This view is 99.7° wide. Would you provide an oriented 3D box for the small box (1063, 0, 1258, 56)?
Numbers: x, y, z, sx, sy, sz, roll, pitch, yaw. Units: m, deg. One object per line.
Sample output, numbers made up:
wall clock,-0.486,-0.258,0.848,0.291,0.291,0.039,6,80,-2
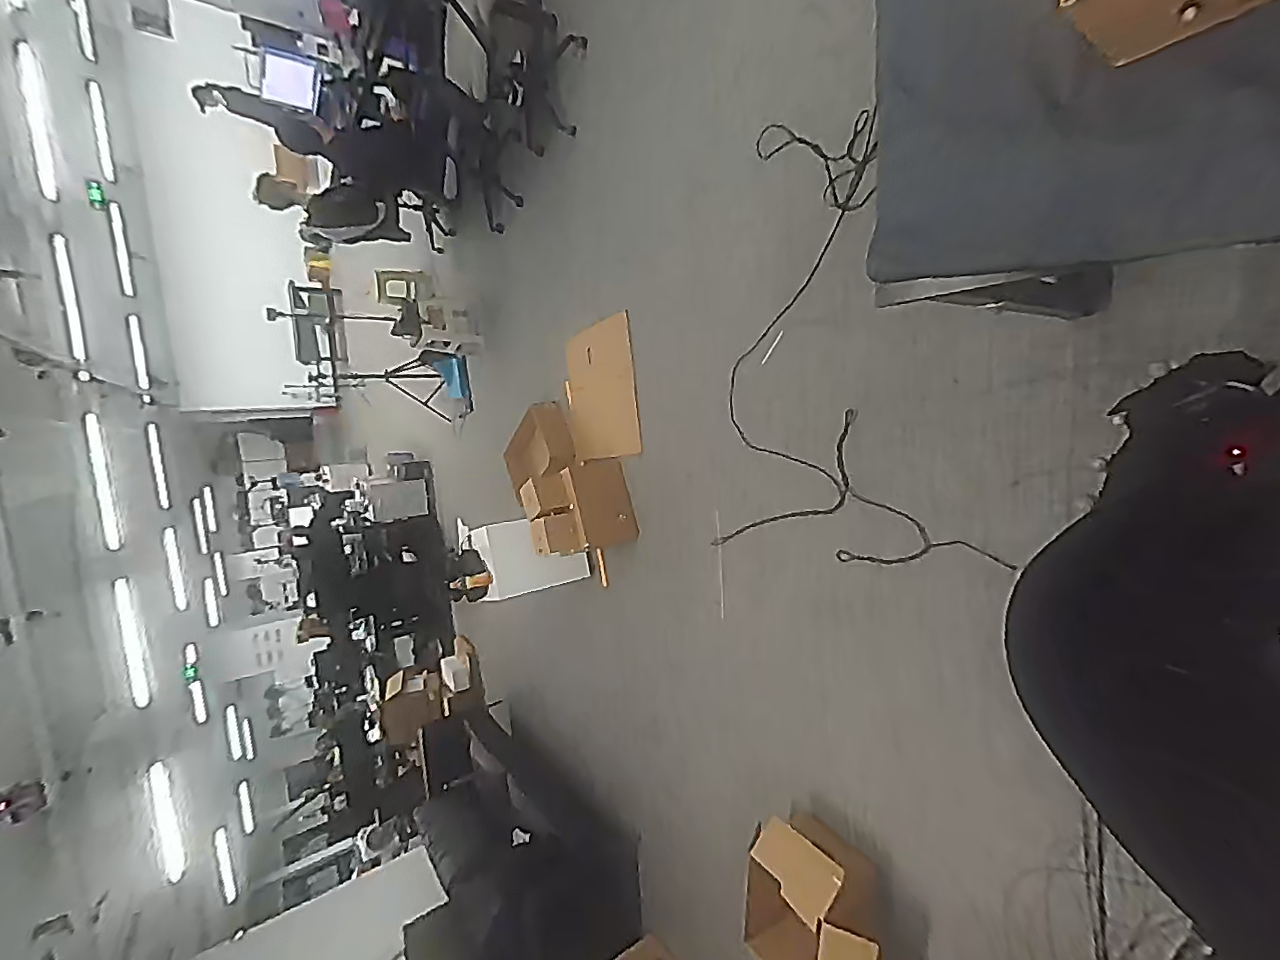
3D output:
small box,0.490,-0.525,0.468,0.168,0.176,0.179,5,101,54
